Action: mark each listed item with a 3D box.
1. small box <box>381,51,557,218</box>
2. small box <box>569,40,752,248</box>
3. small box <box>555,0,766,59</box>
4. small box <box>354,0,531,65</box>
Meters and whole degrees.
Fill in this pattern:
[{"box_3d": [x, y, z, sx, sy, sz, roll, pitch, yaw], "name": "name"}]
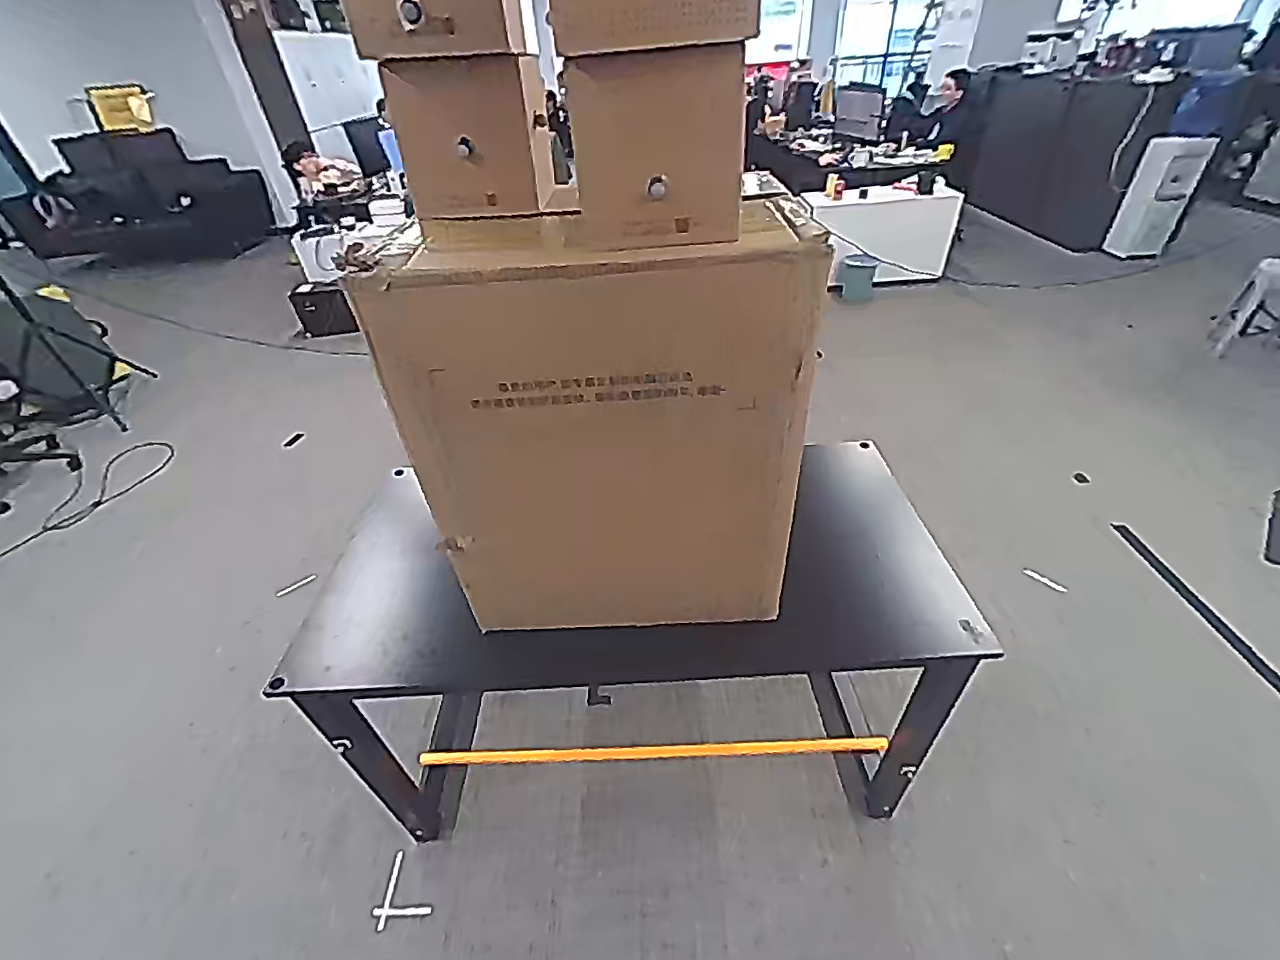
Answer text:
[{"box_3d": [-0.209, -0.457, 0.722, 0.168, 0.176, 0.179, -2, 39, 1], "name": "small box"}, {"box_3d": [0.025, -0.364, 0.589, 0.168, 0.176, 0.179, -3, 39, 4], "name": "small box"}, {"box_3d": [0.012, -0.472, 0.462, 0.179, 0.176, 0.168, -4, 39, 0], "name": "small box"}, {"box_3d": [-0.220, -0.564, 0.594, 0.168, 0.176, 0.179, -5, 39, 0], "name": "small box"}]
